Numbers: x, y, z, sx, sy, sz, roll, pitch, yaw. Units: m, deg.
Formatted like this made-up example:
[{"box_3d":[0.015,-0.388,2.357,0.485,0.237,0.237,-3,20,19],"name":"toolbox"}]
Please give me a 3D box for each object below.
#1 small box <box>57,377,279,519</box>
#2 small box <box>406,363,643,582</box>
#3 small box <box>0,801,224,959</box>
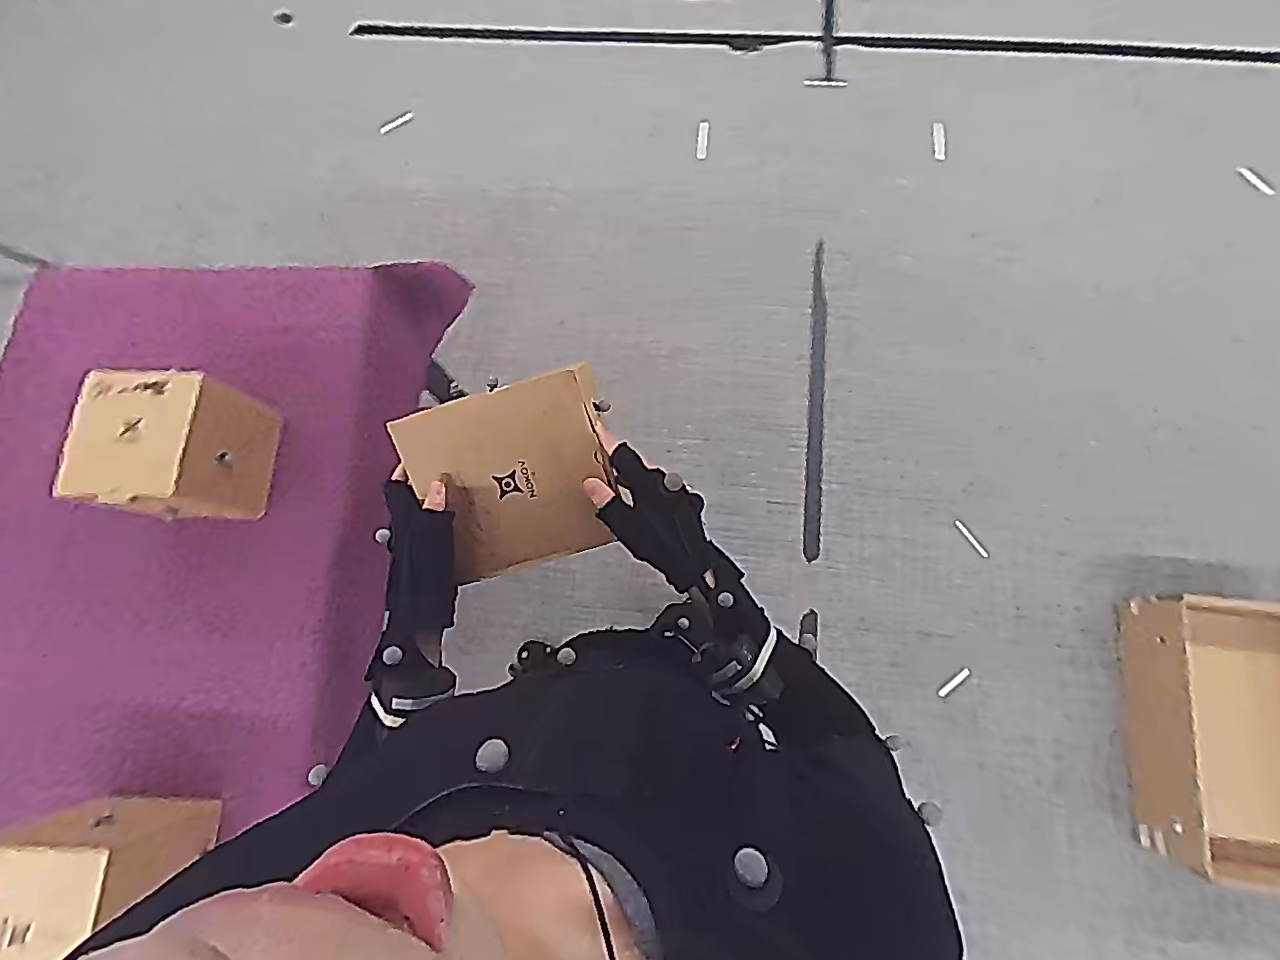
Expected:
[{"box_3d":[-0.671,-0.038,0.794,0.168,0.176,0.179,1,77,2],"name":"small box"},{"box_3d":[-0.103,-0.020,0.566,0.179,0.176,0.168,-17,102,4],"name":"small box"},{"box_3d":[-0.667,0.510,0.658,0.179,0.176,0.168,0,76,1],"name":"small box"}]
